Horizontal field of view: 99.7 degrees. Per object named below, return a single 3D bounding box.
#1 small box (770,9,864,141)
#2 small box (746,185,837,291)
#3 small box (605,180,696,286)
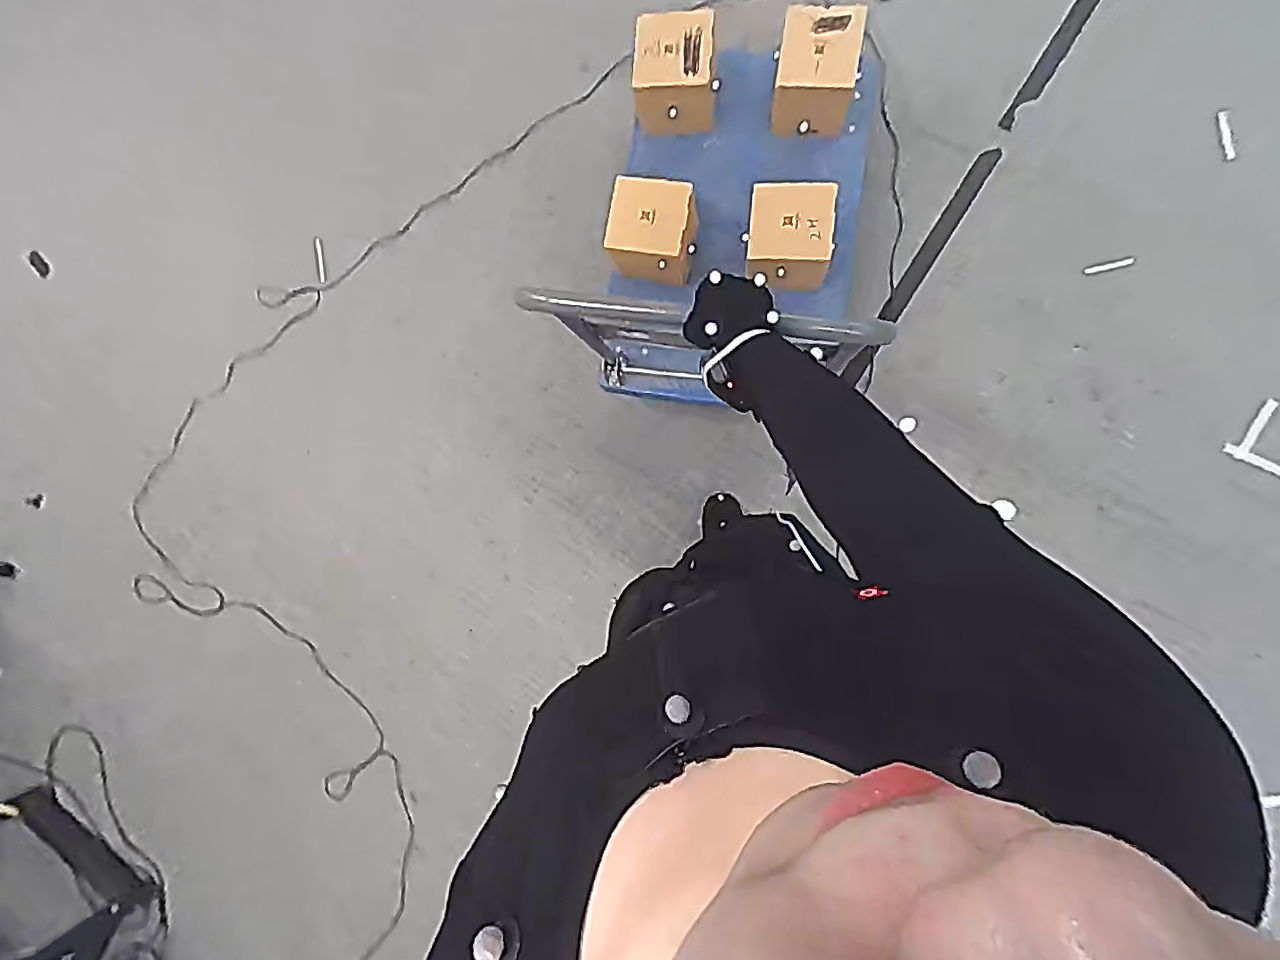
[{"bbox_3d":[0.391,-0.909,1.222,0.168,0.176,0.179,8,91,10],"label":"small box"},{"bbox_3d":[0.333,-0.538,1.219,0.179,0.176,0.168,5,89,10],"label":"small box"},{"bbox_3d":[0.030,-0.573,1.273,0.179,0.176,0.168,10,89,8],"label":"small box"}]
